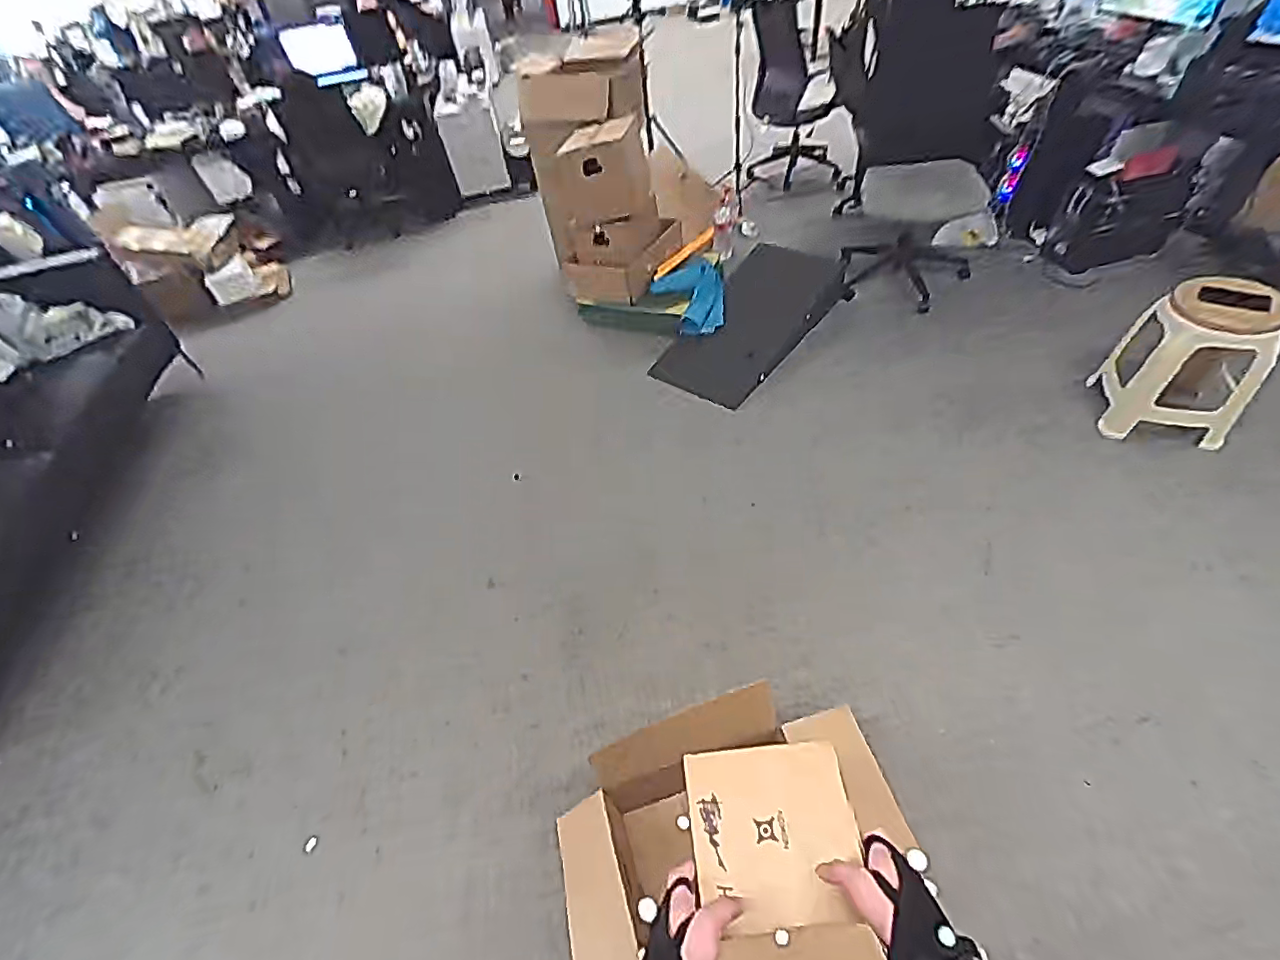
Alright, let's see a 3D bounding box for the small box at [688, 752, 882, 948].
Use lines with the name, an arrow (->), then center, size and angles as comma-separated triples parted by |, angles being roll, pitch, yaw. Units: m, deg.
small box -> 0.151, 0.432, 0.636 | 0.179, 0.176, 0.168 | -7, 51, 2
